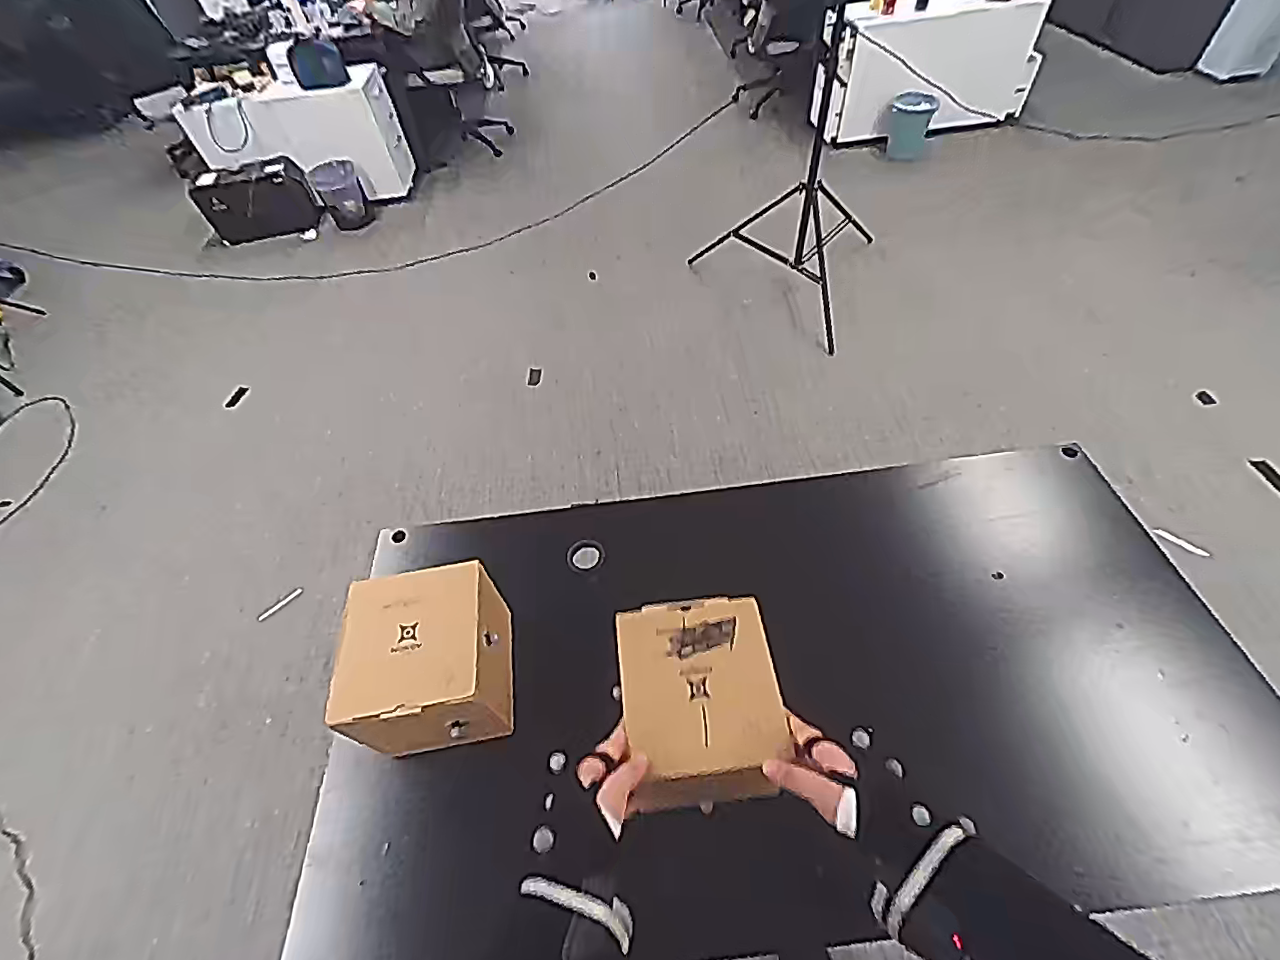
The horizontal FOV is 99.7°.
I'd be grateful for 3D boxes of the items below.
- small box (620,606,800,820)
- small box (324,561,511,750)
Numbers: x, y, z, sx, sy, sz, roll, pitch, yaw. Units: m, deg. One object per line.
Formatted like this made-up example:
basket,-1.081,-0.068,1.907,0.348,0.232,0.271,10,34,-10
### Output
small box,0.069,0.270,0.624,0.168,0.176,0.179,-7,50,0
small box,-0.265,0.231,0.692,0.168,0.176,0.179,-9,51,-4
